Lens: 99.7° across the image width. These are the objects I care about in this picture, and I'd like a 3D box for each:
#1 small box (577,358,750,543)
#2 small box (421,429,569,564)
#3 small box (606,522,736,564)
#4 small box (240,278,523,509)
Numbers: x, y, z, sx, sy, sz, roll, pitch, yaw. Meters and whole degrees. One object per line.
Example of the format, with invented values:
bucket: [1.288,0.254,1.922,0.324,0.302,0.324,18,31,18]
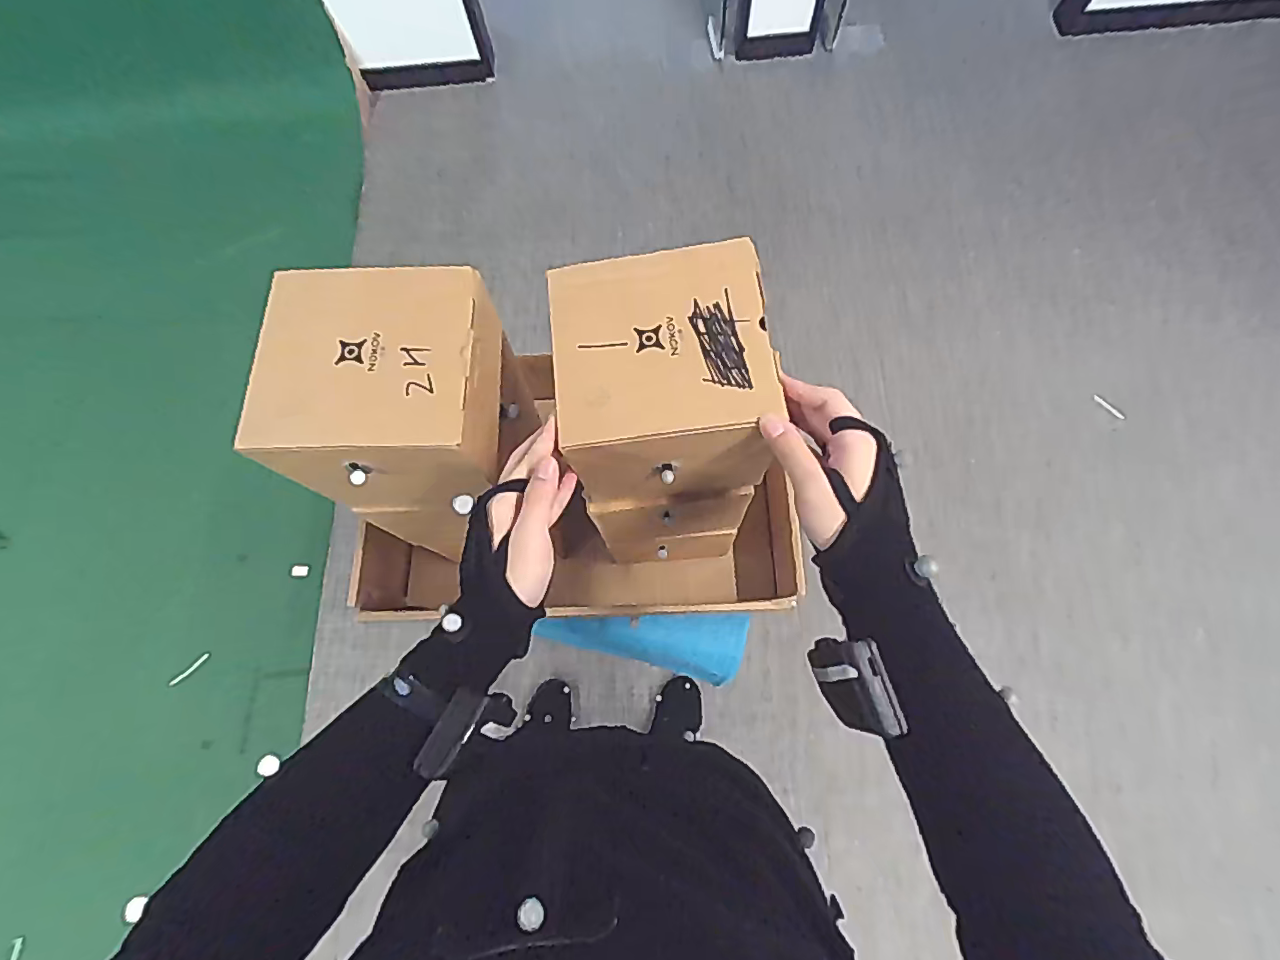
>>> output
small box: [0.029,-0.025,0.659,0.179,0.176,0.168,-7,72,3]
small box: [-0.210,0.033,0.831,0.179,0.176,0.168,-3,72,1]
small box: [0.045,0.027,0.814,0.179,0.176,0.168,-7,72,4]
small box: [-0.223,-0.071,0.519,0.179,0.176,0.168,-1,72,1]
